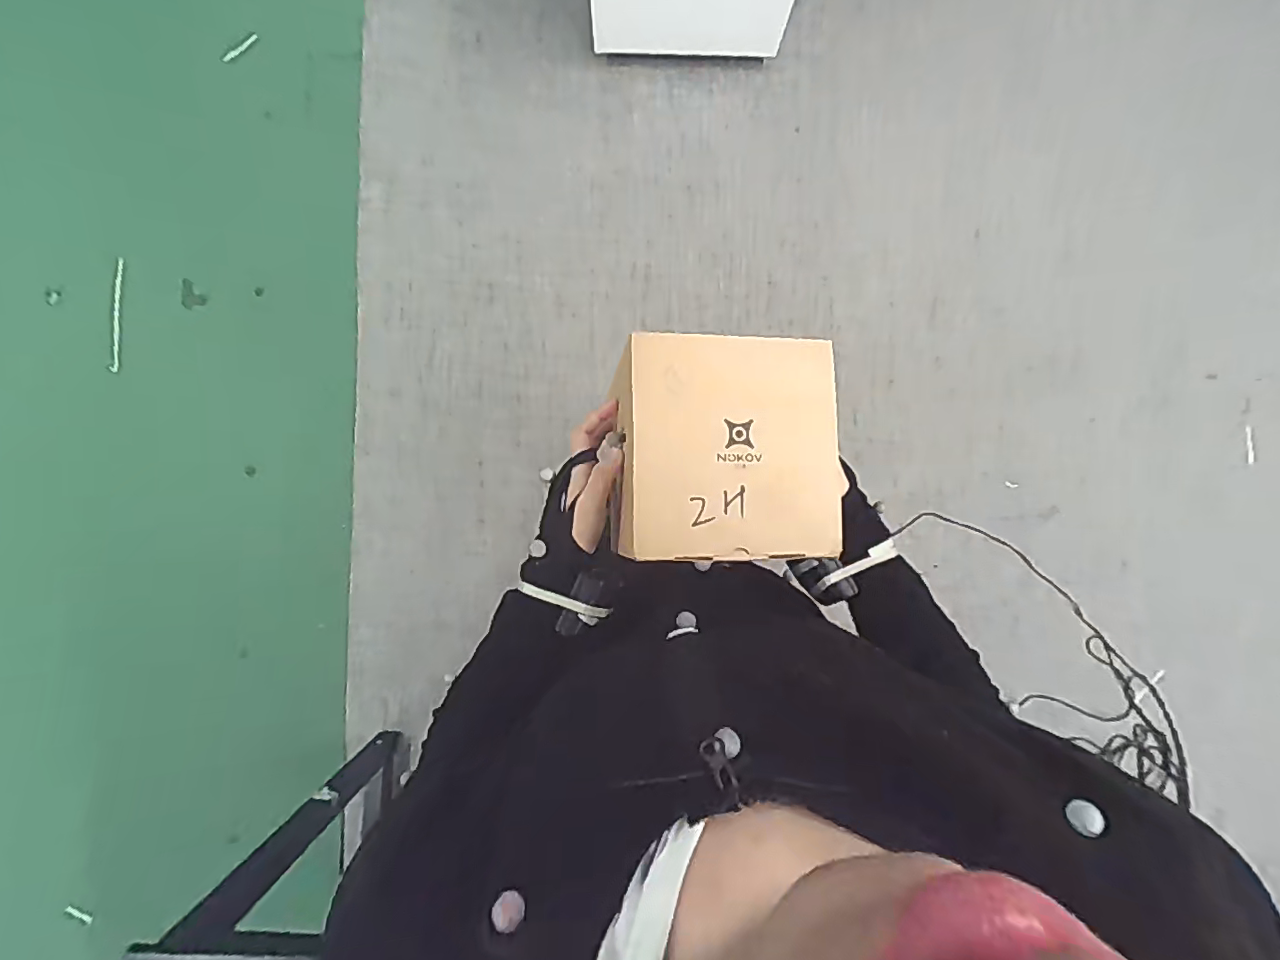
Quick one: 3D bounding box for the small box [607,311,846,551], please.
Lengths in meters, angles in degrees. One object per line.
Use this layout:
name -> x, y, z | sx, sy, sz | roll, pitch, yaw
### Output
small box -> 0.059, -0.027, 0.474 | 0.168, 0.176, 0.179 | 1, 83, -8
